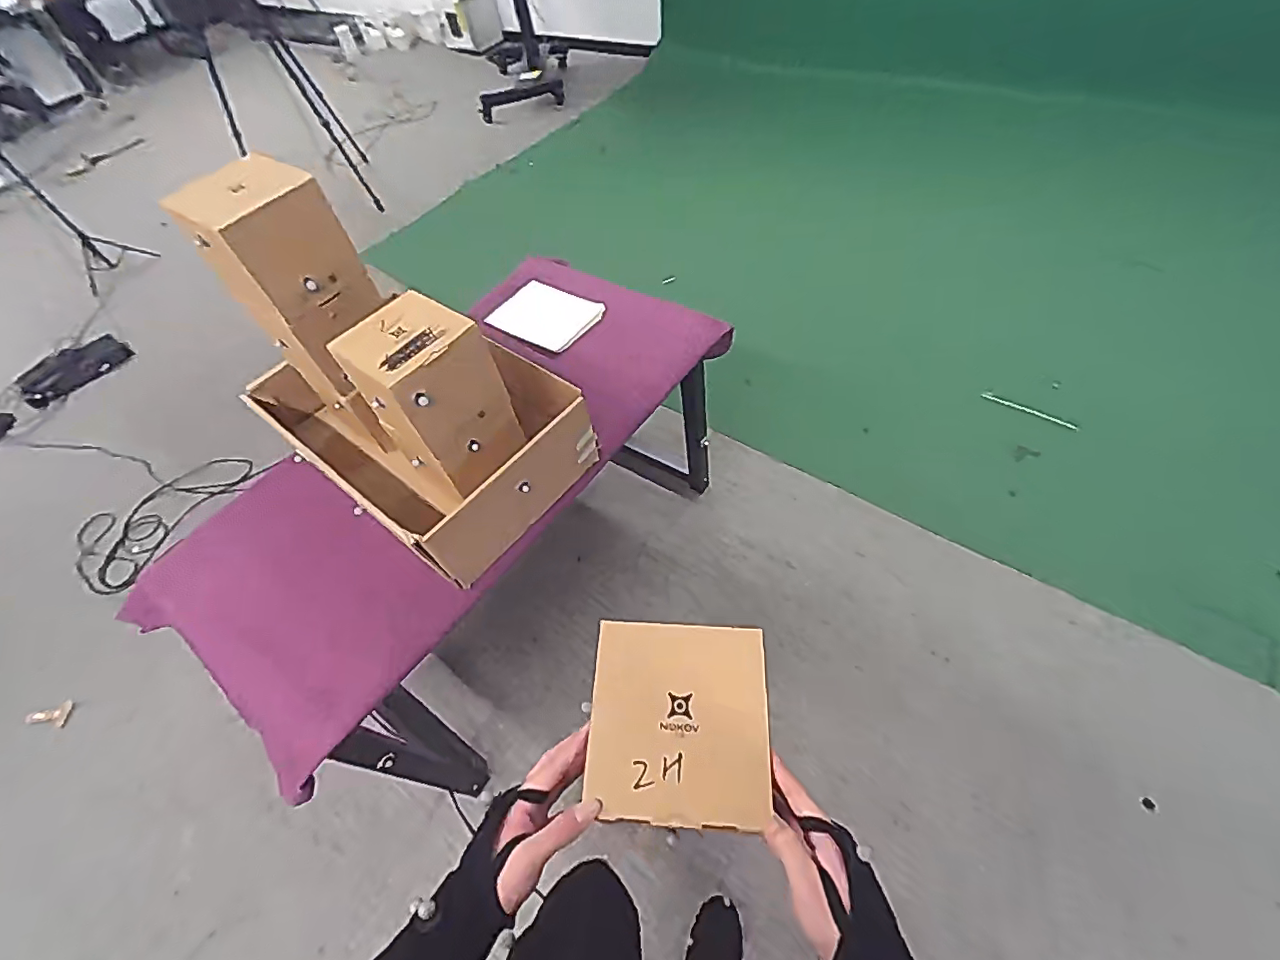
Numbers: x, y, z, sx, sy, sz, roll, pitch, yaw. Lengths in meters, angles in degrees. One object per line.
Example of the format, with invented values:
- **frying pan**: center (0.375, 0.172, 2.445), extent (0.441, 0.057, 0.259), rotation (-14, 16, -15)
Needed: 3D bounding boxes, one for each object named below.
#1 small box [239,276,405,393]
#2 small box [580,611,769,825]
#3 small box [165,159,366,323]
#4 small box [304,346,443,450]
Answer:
- **small box**: center (-0.578, -0.289, 1.008), extent (0.179, 0.176, 0.168), rotation (28, 62, 24)
- **small box**: center (0.037, 0.255, 0.572), extent (0.168, 0.176, 0.179), rotation (2, 57, 4)
- **small box**: center (-0.593, -0.383, 0.876), extent (0.179, 0.176, 0.168), rotation (29, 63, 23)
- **small box**: center (-0.556, -0.191, 1.138), extent (0.179, 0.176, 0.168), rotation (29, 63, 23)
